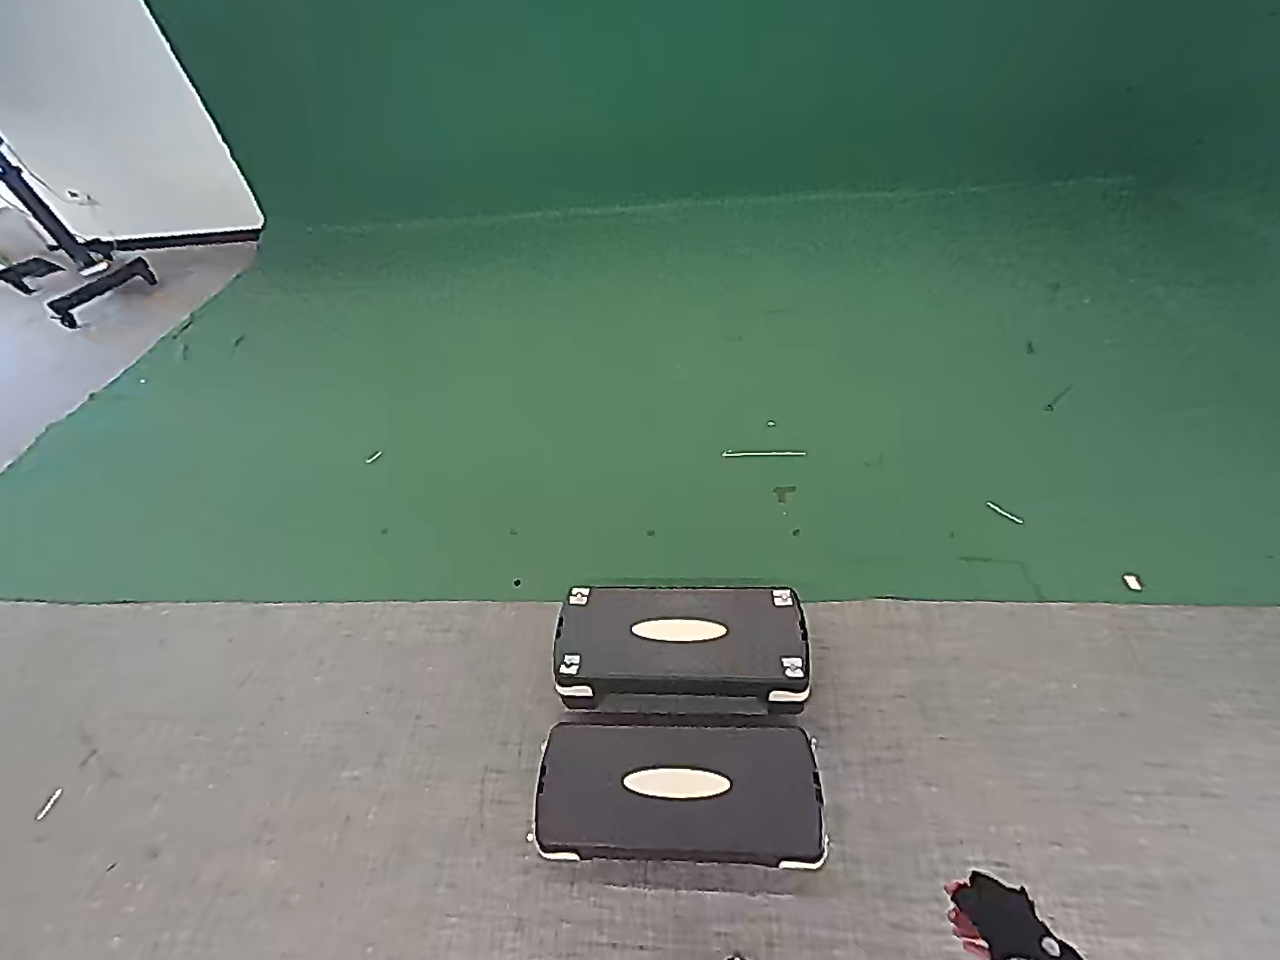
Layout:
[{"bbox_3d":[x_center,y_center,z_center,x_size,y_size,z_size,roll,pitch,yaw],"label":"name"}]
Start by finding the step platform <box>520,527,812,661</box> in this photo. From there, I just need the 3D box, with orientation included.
[{"bbox_3d":[0.064,0.288,1.357,0.684,0.204,0.286,-2,48,6],"label":"step platform"}]
